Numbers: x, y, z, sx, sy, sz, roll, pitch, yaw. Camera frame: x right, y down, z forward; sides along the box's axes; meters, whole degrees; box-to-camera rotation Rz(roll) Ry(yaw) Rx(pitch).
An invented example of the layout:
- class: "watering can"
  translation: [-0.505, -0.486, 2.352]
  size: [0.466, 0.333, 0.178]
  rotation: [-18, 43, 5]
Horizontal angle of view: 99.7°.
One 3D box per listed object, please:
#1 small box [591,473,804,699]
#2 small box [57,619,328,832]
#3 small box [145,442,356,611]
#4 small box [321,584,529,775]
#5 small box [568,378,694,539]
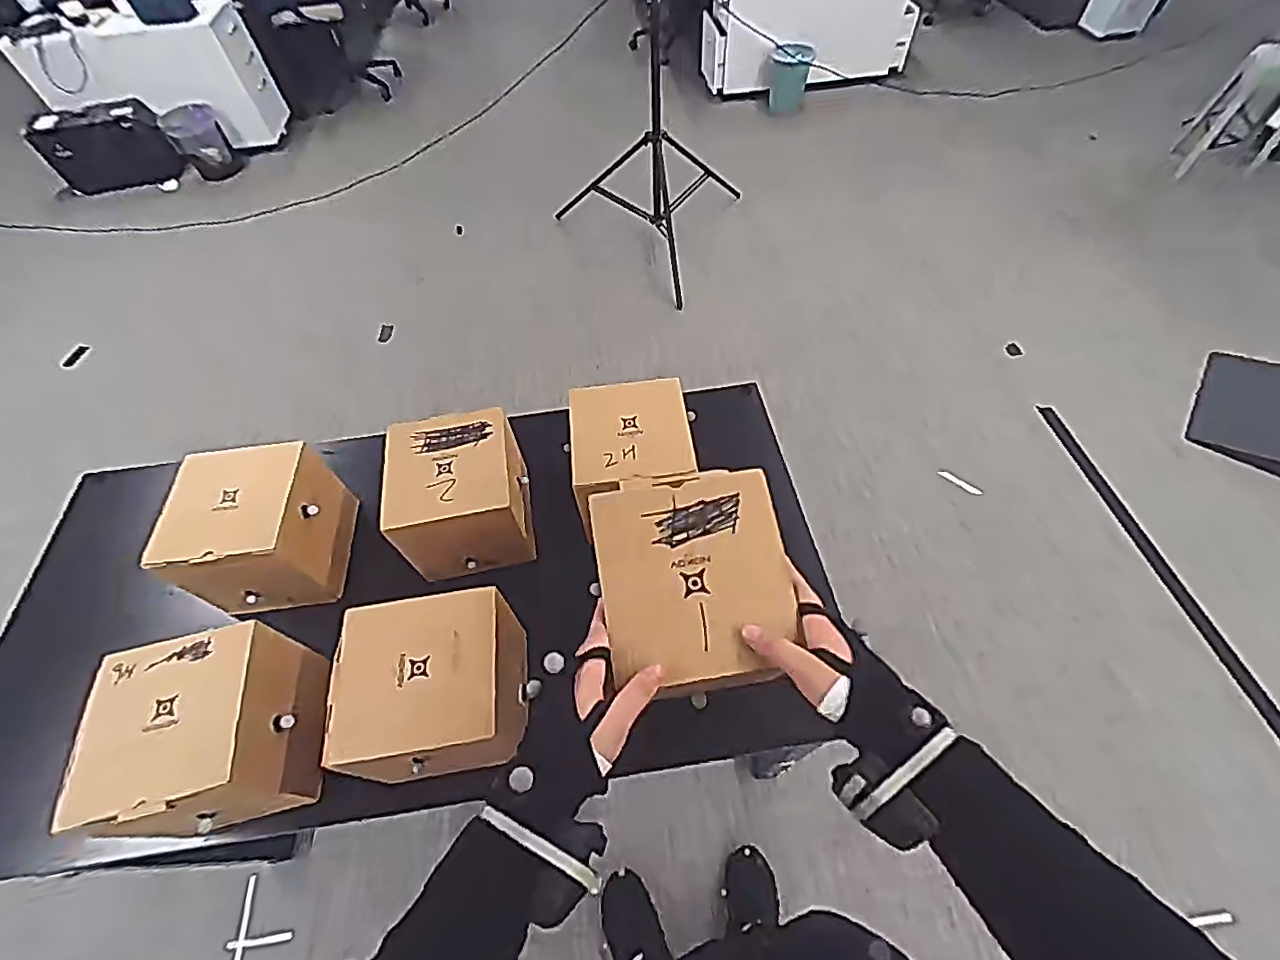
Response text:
- class: "small box"
  translation: [0.045, 0.114, 0.549]
  size: [0.168, 0.176, 0.179]
  rotation: [-8, 66, -3]
- class: "small box"
  translation: [-0.493, 0.289, 0.633]
  size: [0.168, 0.176, 0.179]
  rotation: [-13, 56, -6]
- class: "small box"
  translation: [-0.541, 0.070, 0.785]
  size: [0.168, 0.176, 0.179]
  rotation: [-7, 56, -2]
- class: "small box"
  translation: [-0.241, 0.245, 0.650]
  size: [0.179, 0.176, 0.168]
  rotation: [-9, 56, -3]
- class: "small box"
  translation: [-0.014, -0.027, 0.818]
  size: [0.168, 0.176, 0.179]
  rotation: [-7, 56, 0]
